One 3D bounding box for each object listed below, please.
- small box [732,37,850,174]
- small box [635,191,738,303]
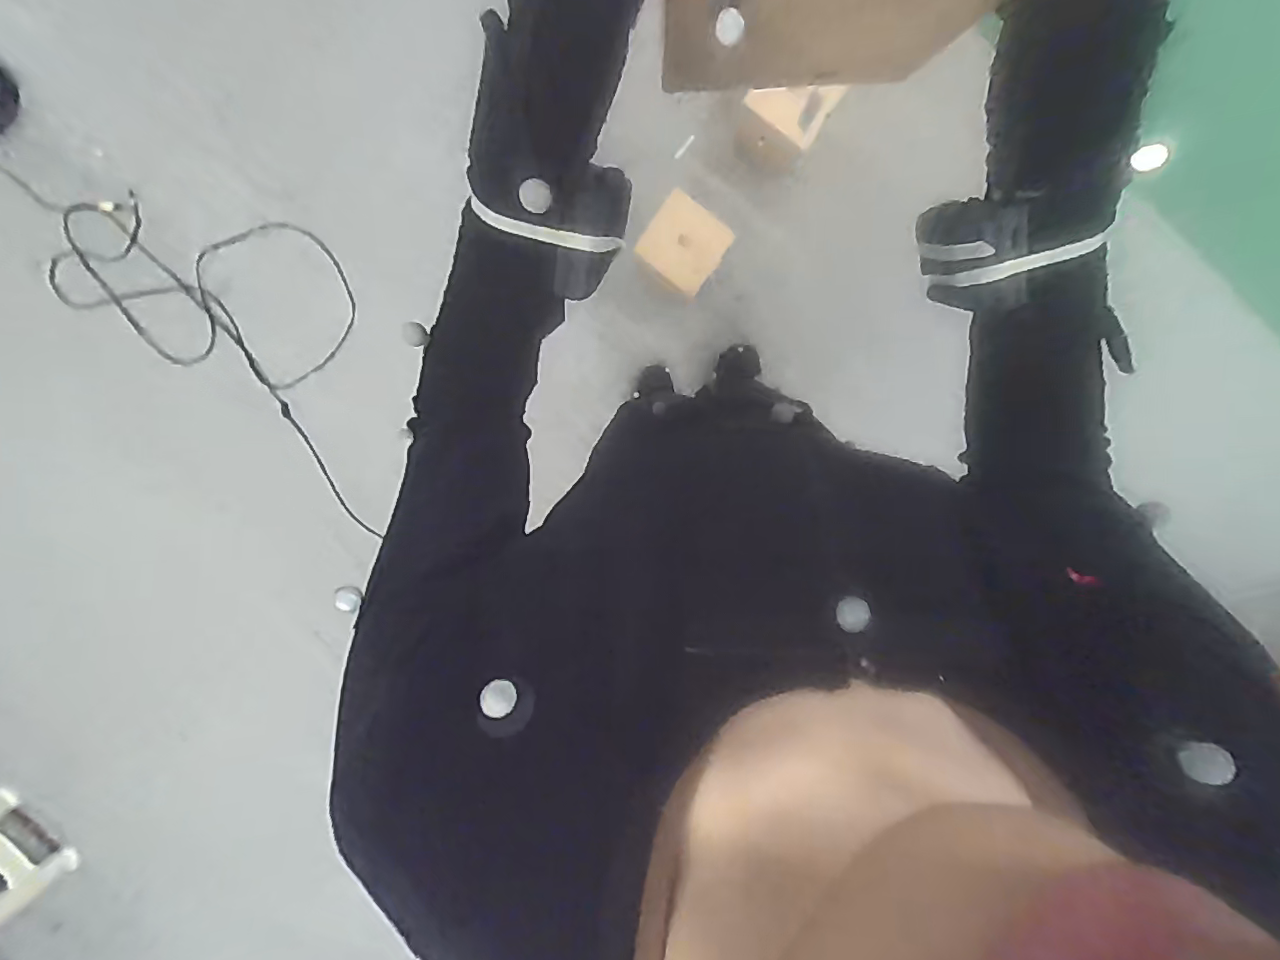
[{"bbox_3d":[0.334,-0.833,1.231,0.179,0.176,0.168,33,100,-6],"label":"small box"},{"bbox_3d":[0.104,-0.542,1.289,0.179,0.176,0.168,35,101,-8],"label":"small box"}]
